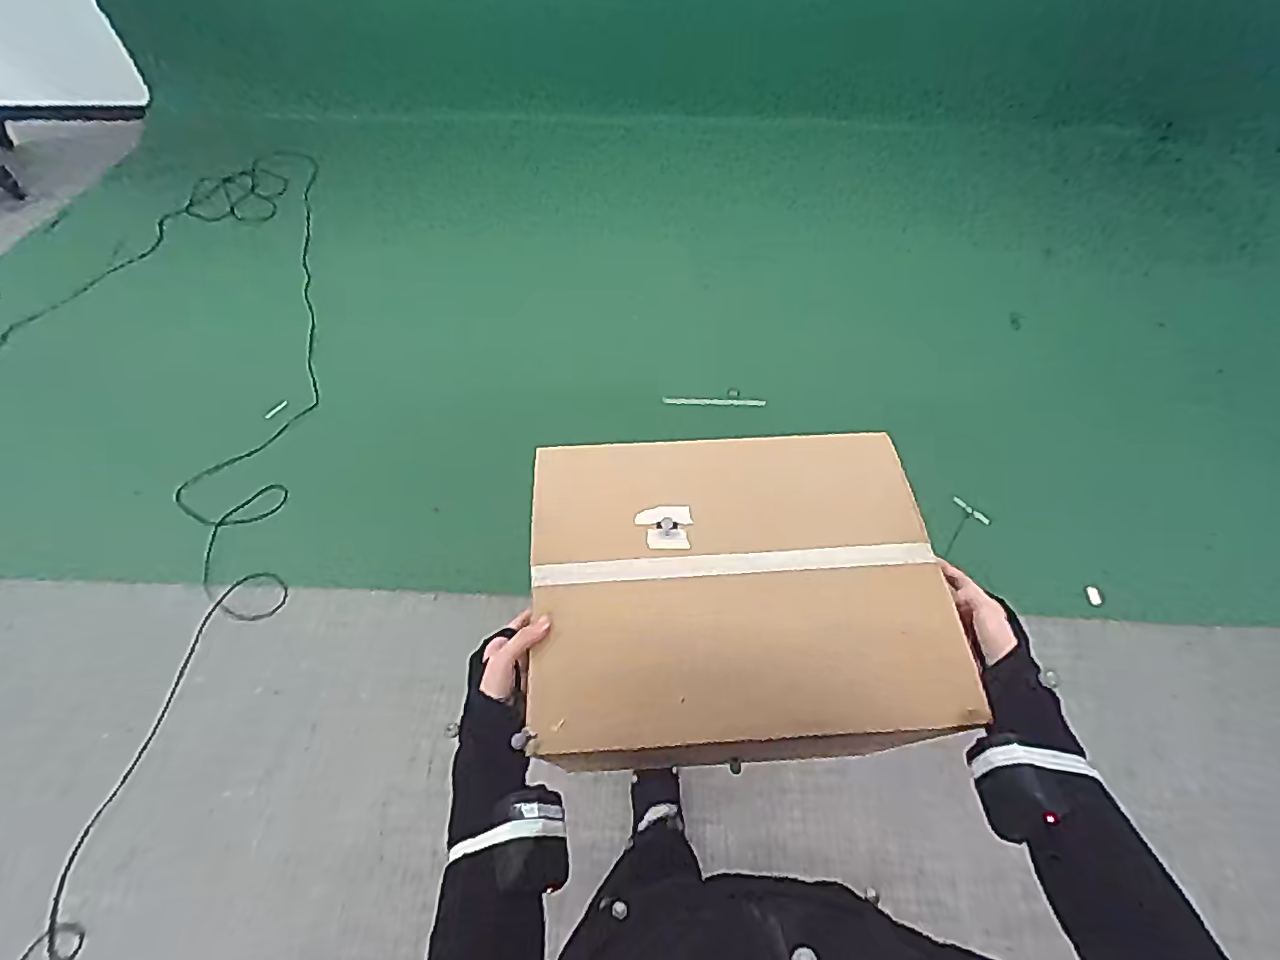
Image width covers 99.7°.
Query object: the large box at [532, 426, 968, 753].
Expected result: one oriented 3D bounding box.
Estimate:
[{"bbox_3d":[0.095,0.155,0.685,0.408,0.320,0.320,-3,59,-1],"label":"large box"}]
